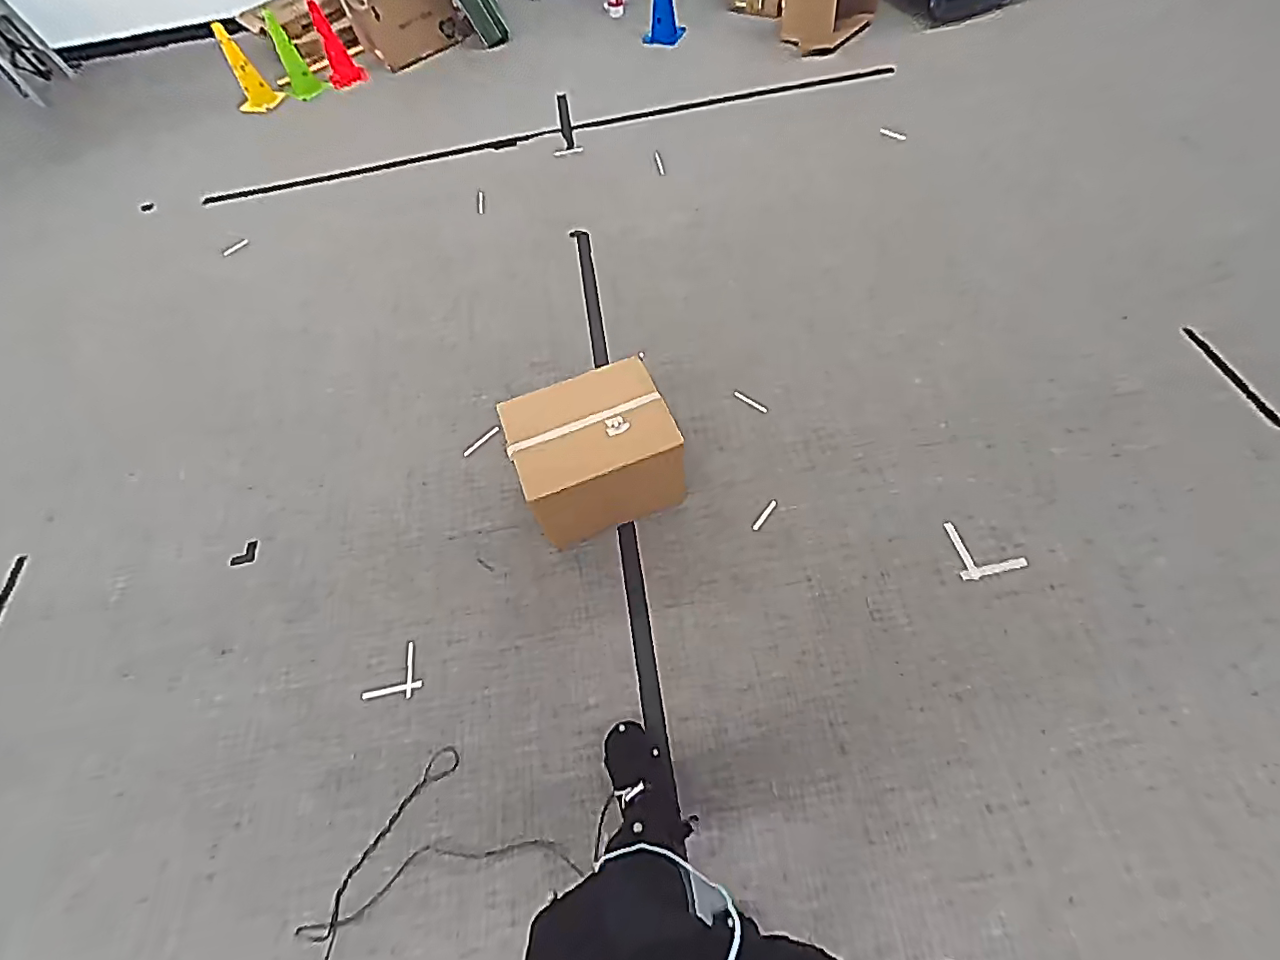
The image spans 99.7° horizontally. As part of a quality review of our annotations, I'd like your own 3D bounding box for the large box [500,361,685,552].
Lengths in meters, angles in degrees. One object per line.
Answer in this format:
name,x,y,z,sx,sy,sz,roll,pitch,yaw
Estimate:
large box,-0.118,-0.057,1.486,0.408,0.320,0.320,-20,61,-7
